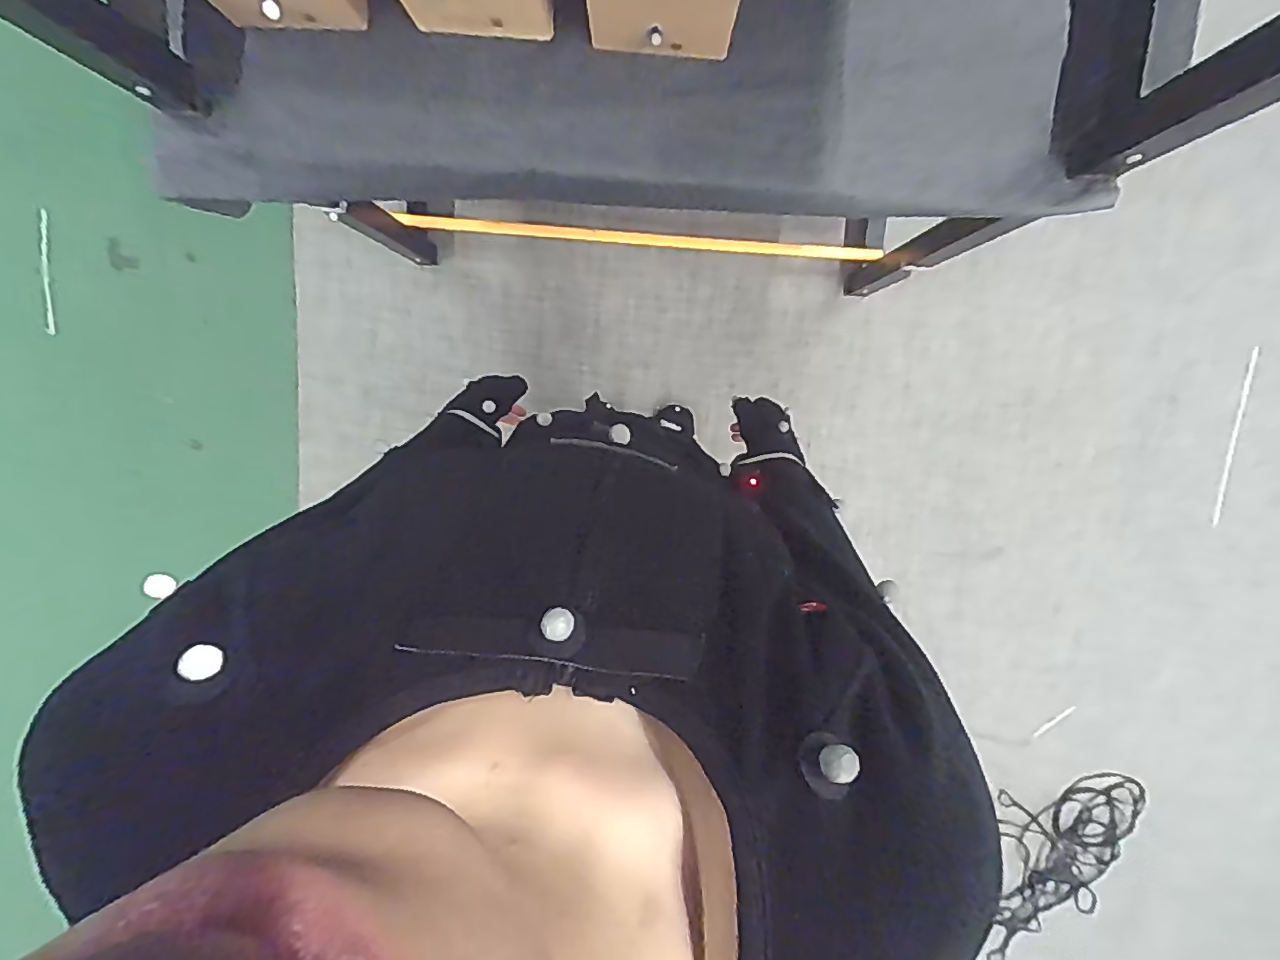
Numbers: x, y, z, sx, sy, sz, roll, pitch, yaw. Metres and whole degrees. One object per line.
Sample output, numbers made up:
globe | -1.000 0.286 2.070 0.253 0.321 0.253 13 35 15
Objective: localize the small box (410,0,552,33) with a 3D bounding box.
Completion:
small box | -0.183 -0.618 0.567 0.168 0.176 0.179 4 98 -1

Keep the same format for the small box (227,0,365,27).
small box | -0.410 -0.629 0.565 0.168 0.176 0.179 2 99 0
